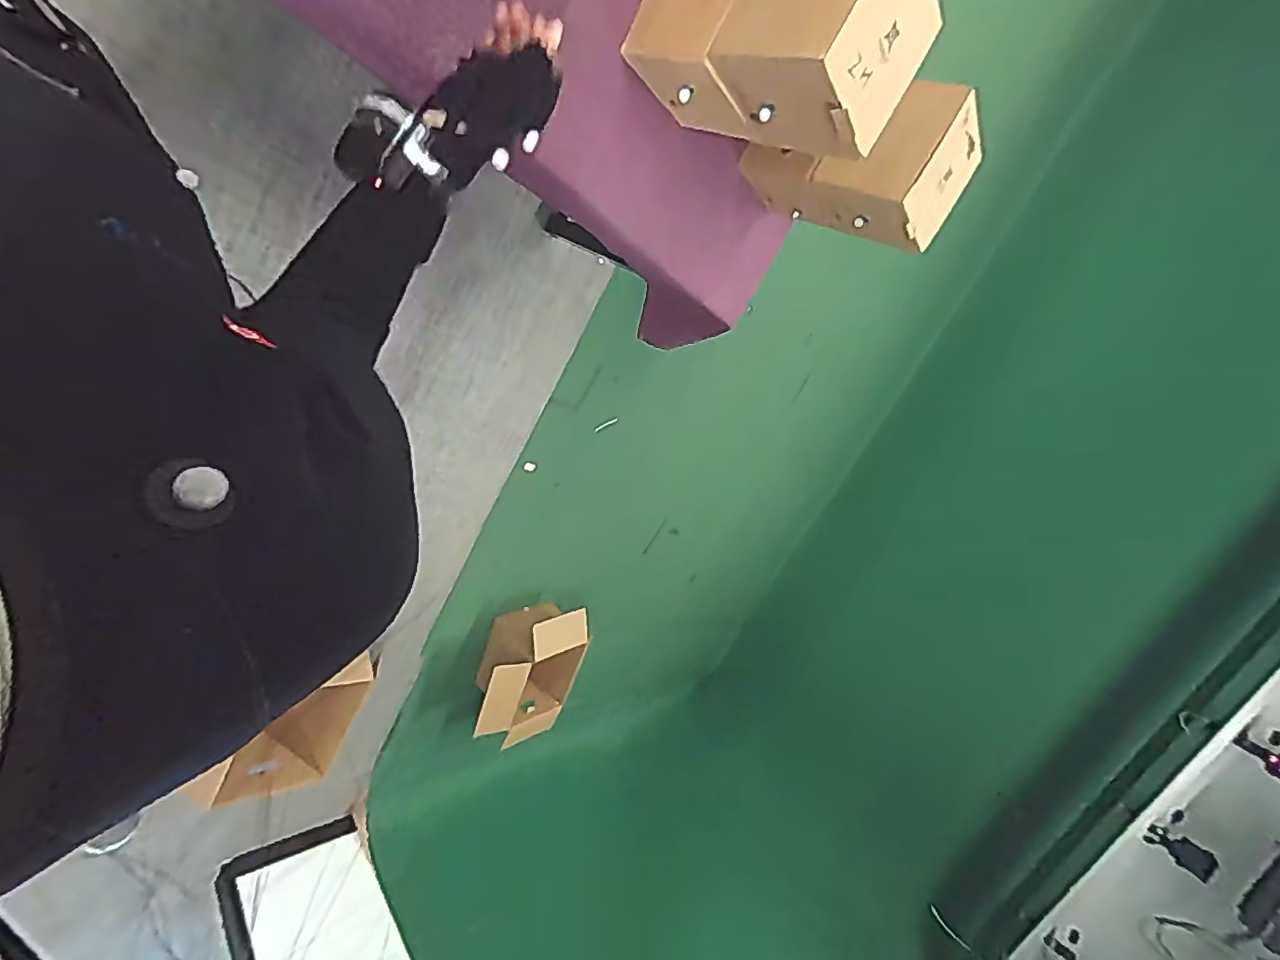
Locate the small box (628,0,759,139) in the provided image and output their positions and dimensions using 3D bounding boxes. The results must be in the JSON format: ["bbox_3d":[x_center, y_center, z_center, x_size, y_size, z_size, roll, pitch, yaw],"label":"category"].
[{"bbox_3d":[0.109,-0.613,0.743,0.168,0.176,0.179,11,111,-52],"label":"small box"}]

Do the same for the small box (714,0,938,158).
[{"bbox_3d":[0.221,-0.534,0.651,0.168,0.176,0.179,16,108,-53],"label":"small box"}]

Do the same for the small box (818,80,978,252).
[{"bbox_3d":[0.418,-0.517,0.893,0.168,0.176,0.179,15,110,-54],"label":"small box"}]

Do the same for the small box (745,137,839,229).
[{"bbox_3d":[0.315,-0.601,0.989,0.168,0.176,0.179,15,108,-54],"label":"small box"}]
